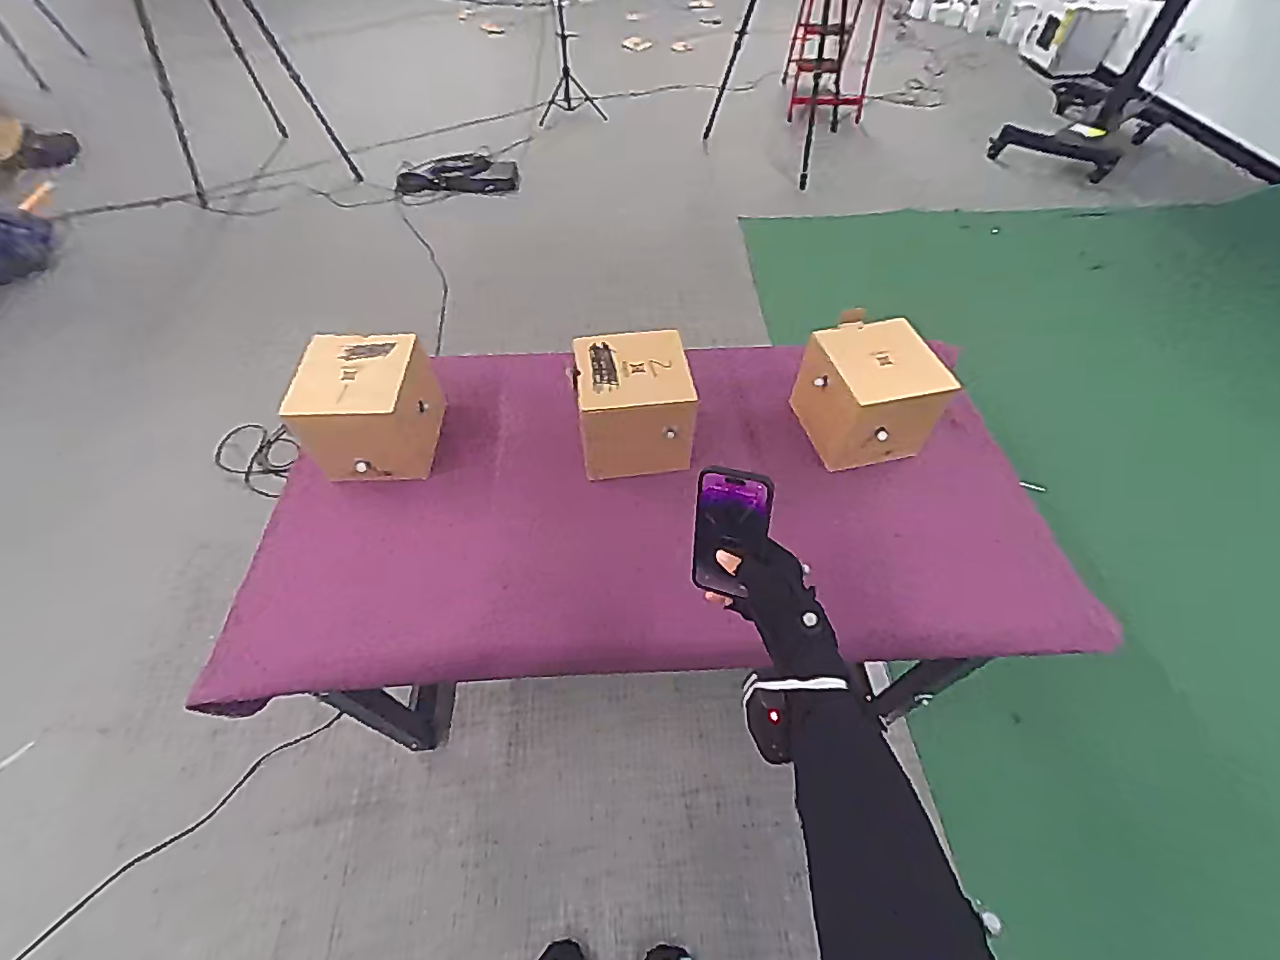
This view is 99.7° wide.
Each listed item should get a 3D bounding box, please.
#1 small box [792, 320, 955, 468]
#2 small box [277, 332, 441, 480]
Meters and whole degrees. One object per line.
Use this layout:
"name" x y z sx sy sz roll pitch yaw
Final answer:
"small box" 0.376 -0.137 0.906 0.168 0.176 0.179 -11 54 -8
"small box" -0.438 -0.119 0.881 0.168 0.176 0.179 -1 55 -1
